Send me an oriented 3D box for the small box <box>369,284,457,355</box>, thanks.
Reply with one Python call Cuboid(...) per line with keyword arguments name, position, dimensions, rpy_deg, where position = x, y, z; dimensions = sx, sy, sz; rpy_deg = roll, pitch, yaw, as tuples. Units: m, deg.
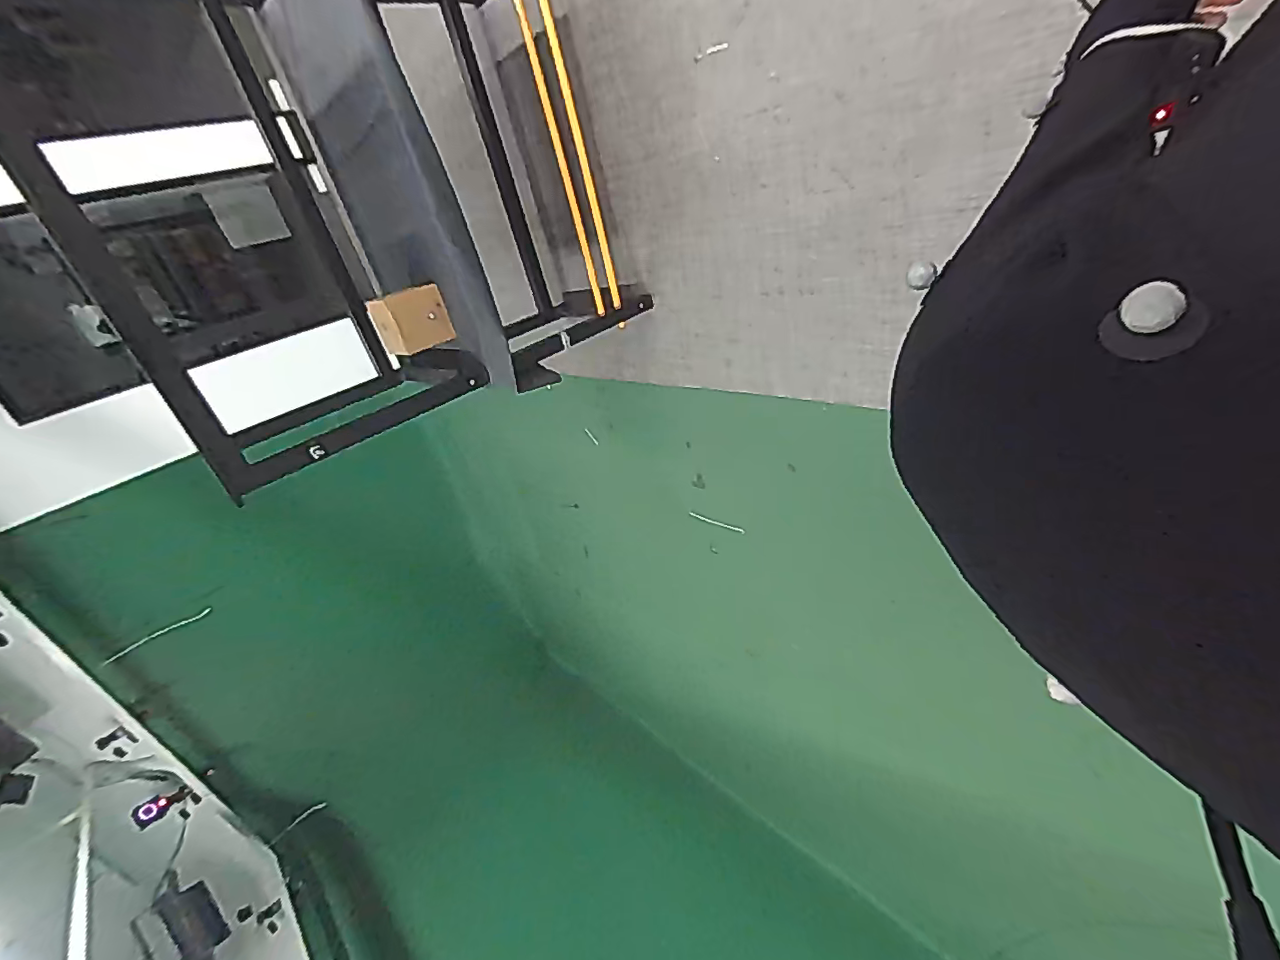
Cuboid(name="small box", position=(-0.695, -0.497, 1.668), dimensions=(0.179, 0.176, 0.168), rpy_deg=(16, 131, 45))
